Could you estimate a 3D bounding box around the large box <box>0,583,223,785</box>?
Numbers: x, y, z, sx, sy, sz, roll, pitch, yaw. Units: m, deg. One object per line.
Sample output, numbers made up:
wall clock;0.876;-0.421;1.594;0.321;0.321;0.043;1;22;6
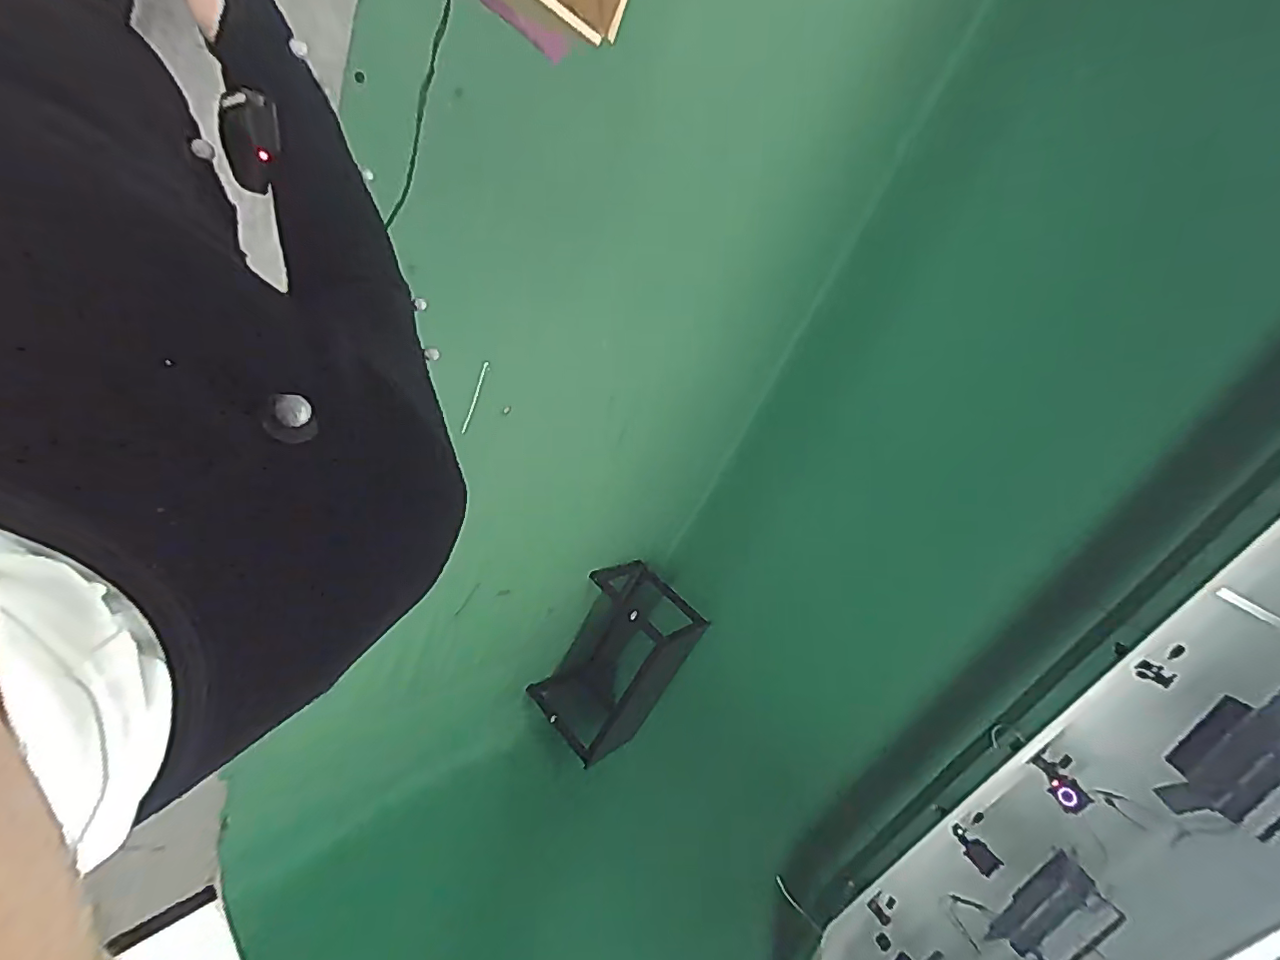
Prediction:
large box;-1.568;0.588;1.585;0.408;0.320;0.320;-36;150;-28
